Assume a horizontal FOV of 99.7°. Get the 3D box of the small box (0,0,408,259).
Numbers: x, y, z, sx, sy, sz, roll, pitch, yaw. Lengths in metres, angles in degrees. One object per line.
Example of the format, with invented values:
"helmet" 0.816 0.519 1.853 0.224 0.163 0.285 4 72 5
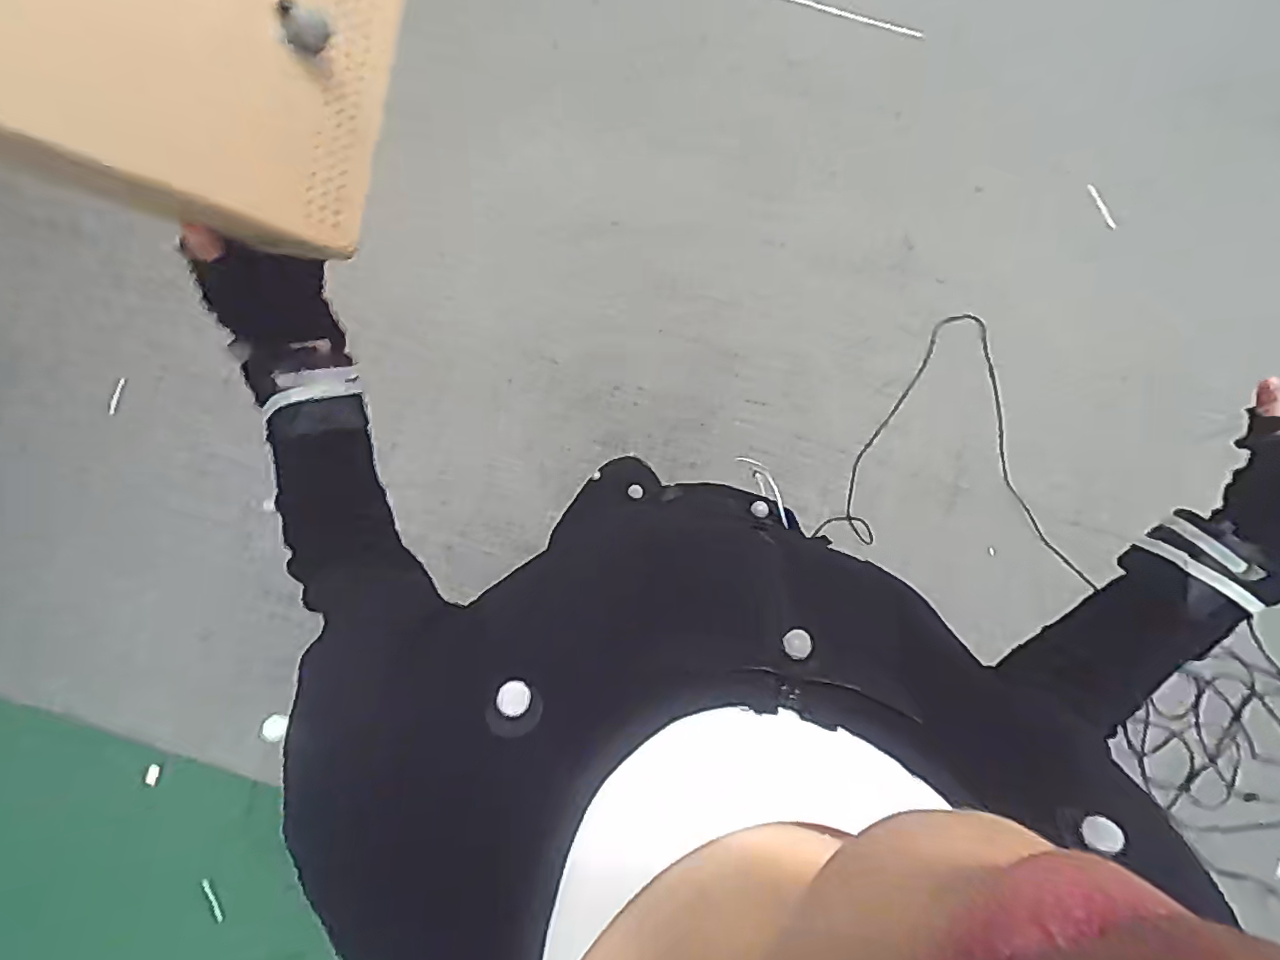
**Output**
"small box" -0.228 -0.225 0.244 0.168 0.176 0.179 21 99 34
